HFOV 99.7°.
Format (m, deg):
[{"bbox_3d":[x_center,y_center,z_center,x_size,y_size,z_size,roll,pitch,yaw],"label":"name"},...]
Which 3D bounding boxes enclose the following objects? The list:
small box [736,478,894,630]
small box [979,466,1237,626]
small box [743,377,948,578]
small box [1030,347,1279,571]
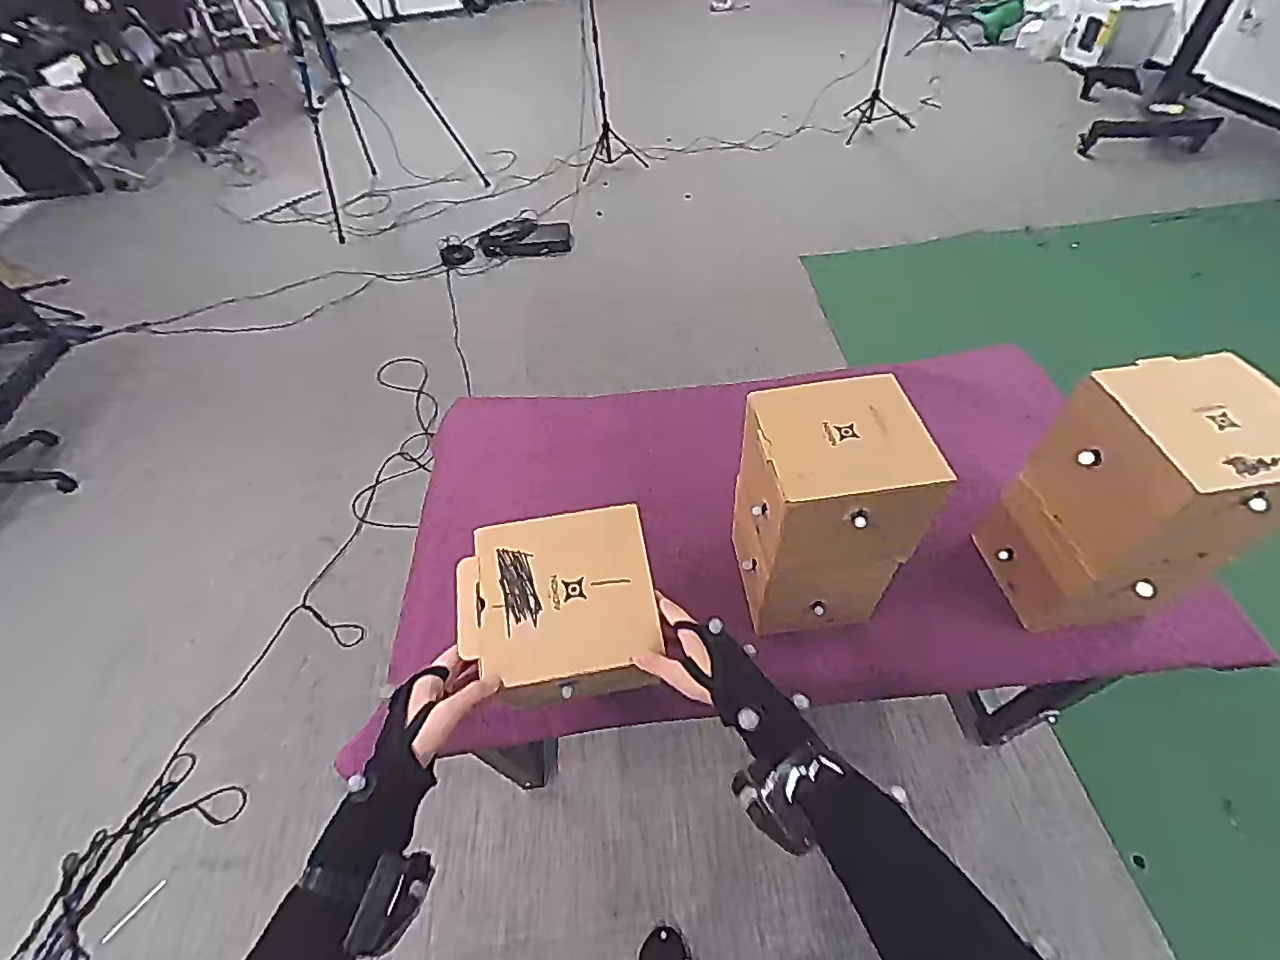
[{"bbox_3d":[0.236,0.103,0.779,0.168,0.176,0.179,-8,50,1],"label":"small box"},{"bbox_3d":[0.615,0.083,0.743,0.179,0.176,0.168,-10,52,1],"label":"small box"},{"bbox_3d":[0.225,0.003,0.650,0.179,0.176,0.168,-8,51,1],"label":"small box"},{"bbox_3d":[0.598,-0.021,0.617,0.168,0.176,0.179,-10,51,2],"label":"small box"}]
